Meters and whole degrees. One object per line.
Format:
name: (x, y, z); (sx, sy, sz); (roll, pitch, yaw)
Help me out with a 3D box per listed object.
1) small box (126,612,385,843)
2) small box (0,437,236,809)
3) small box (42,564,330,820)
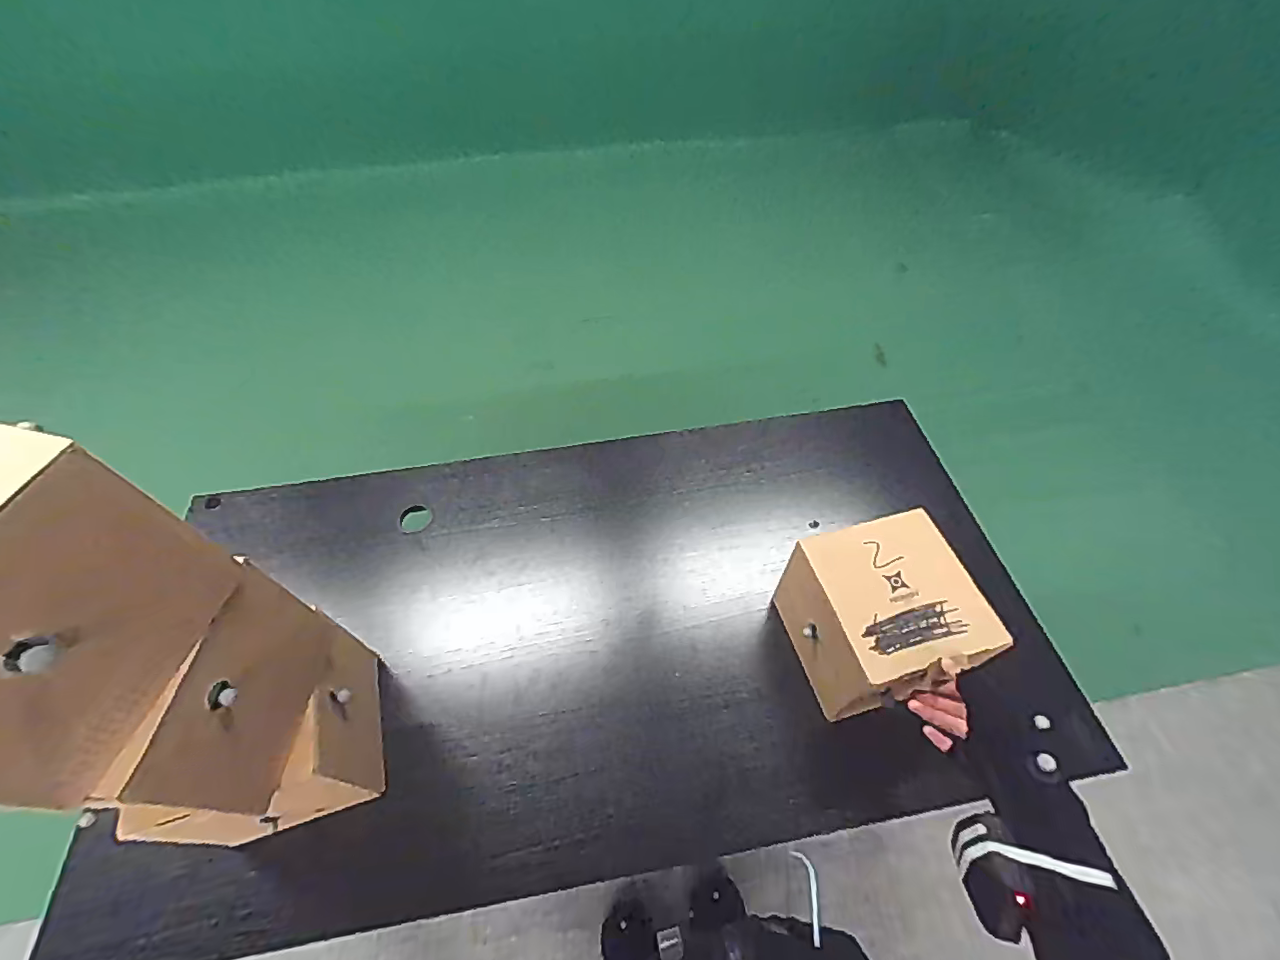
small box: (-0.400, 0.276, 0.598); (0.168, 0.176, 0.179); (-16, 57, -11)
small box: (-0.408, 0.084, 0.331); (0.168, 0.176, 0.179); (11, 57, 7)
small box: (-0.404, 0.183, 0.463); (0.168, 0.176, 0.179); (2, 55, 1)
